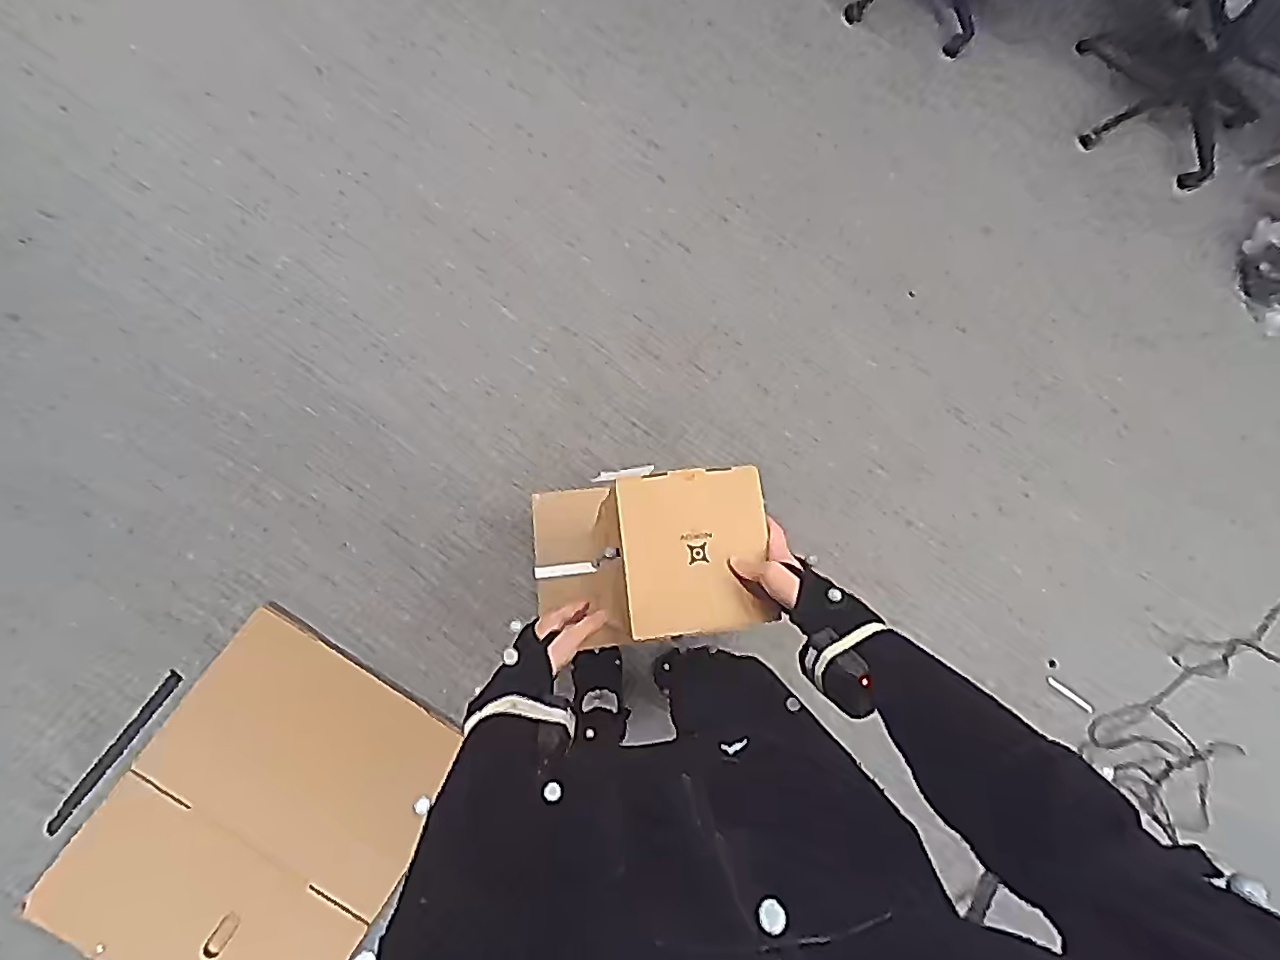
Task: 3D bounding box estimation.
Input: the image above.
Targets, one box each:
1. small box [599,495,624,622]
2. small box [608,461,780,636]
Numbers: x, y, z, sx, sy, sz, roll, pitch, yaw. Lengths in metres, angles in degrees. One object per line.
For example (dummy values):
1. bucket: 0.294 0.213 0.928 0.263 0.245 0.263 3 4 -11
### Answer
1. small box: 0.030 0.117 0.822 0.168 0.176 0.179 -6 78 -8
2. small box: 0.053 0.086 0.664 0.168 0.176 0.179 -6 78 -8
